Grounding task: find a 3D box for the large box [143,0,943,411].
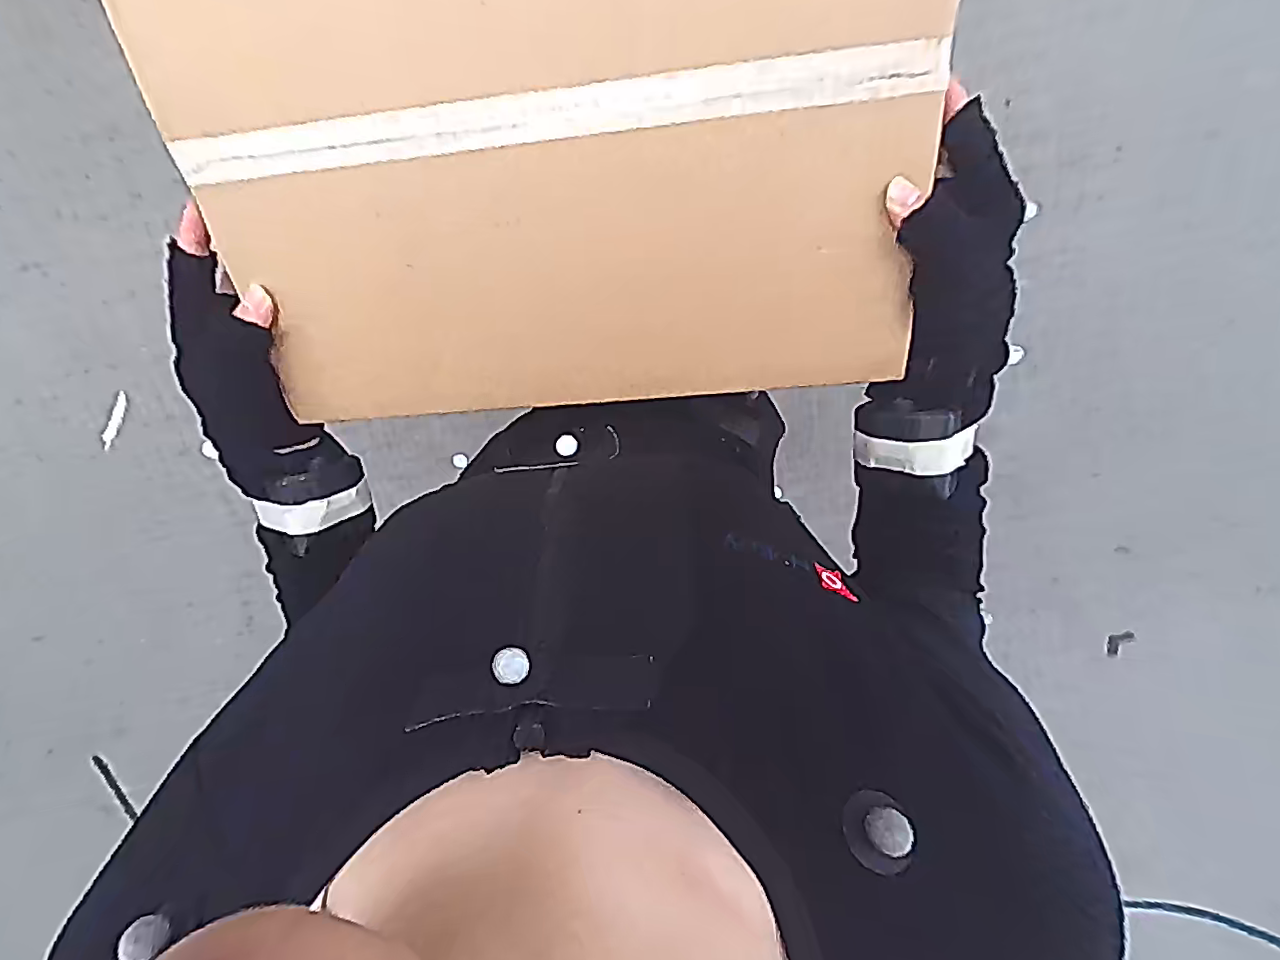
[{"bbox_3d":[-0.043,-0.268,0.420,0.408,0.320,0.320,-4,120,6],"label":"large box"}]
